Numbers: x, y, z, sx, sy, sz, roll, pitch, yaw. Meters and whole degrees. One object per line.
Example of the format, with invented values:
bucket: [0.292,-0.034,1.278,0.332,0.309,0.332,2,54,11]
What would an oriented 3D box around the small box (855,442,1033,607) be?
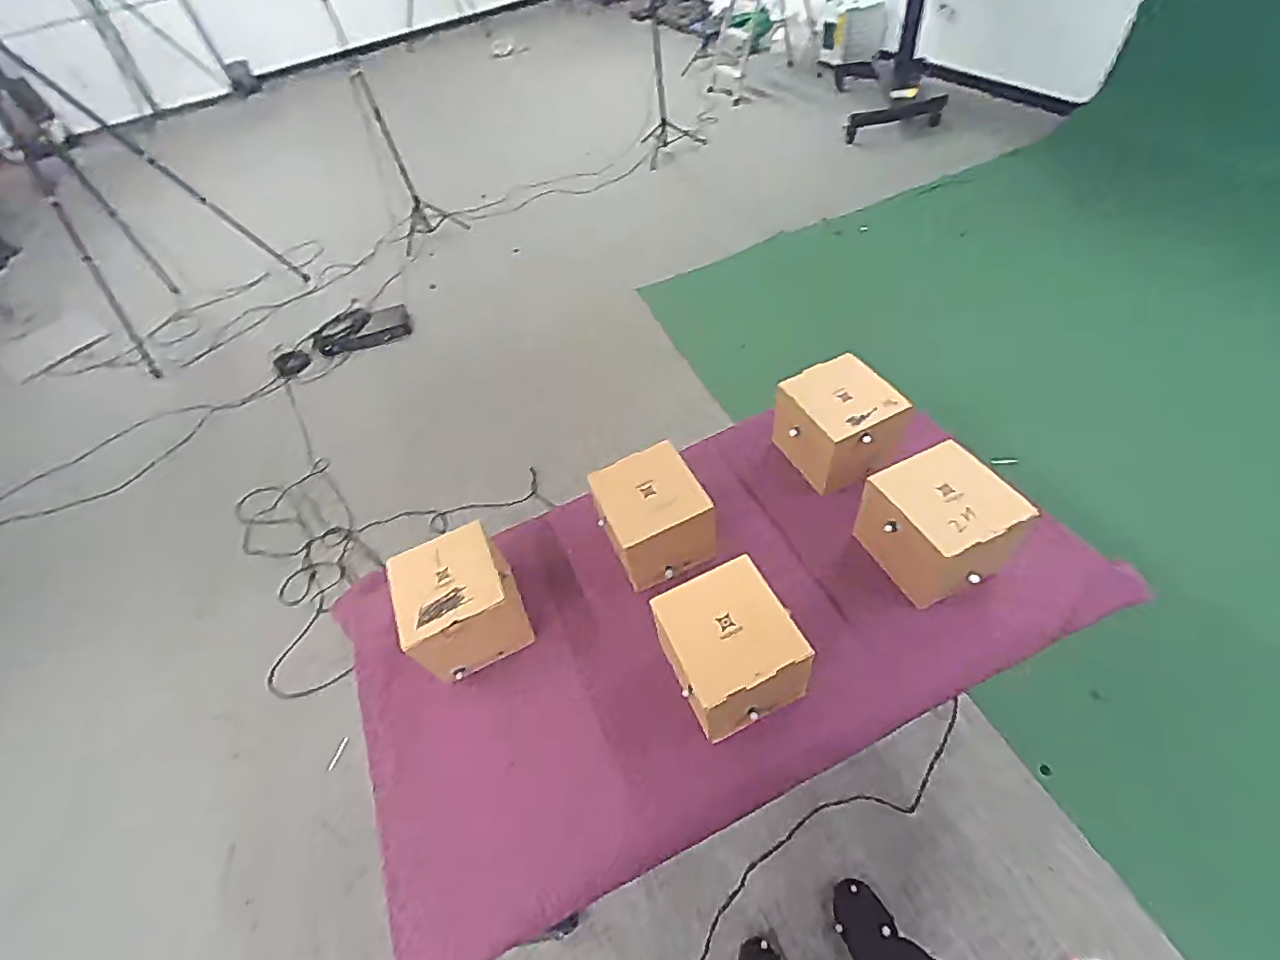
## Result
small box: [0.480,0.075,0.889,0.168,0.176,0.179,-23,50,-7]

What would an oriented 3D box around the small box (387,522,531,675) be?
small box: [-0.304,0.211,0.925,0.168,0.176,0.179,-24,51,-10]

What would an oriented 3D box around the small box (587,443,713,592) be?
small box: [0.020,0.070,0.983,0.168,0.176,0.179,-24,53,-8]

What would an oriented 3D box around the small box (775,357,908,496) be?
small box: [0.377,-0.102,1.052,0.168,0.176,0.179,-25,52,-9]
